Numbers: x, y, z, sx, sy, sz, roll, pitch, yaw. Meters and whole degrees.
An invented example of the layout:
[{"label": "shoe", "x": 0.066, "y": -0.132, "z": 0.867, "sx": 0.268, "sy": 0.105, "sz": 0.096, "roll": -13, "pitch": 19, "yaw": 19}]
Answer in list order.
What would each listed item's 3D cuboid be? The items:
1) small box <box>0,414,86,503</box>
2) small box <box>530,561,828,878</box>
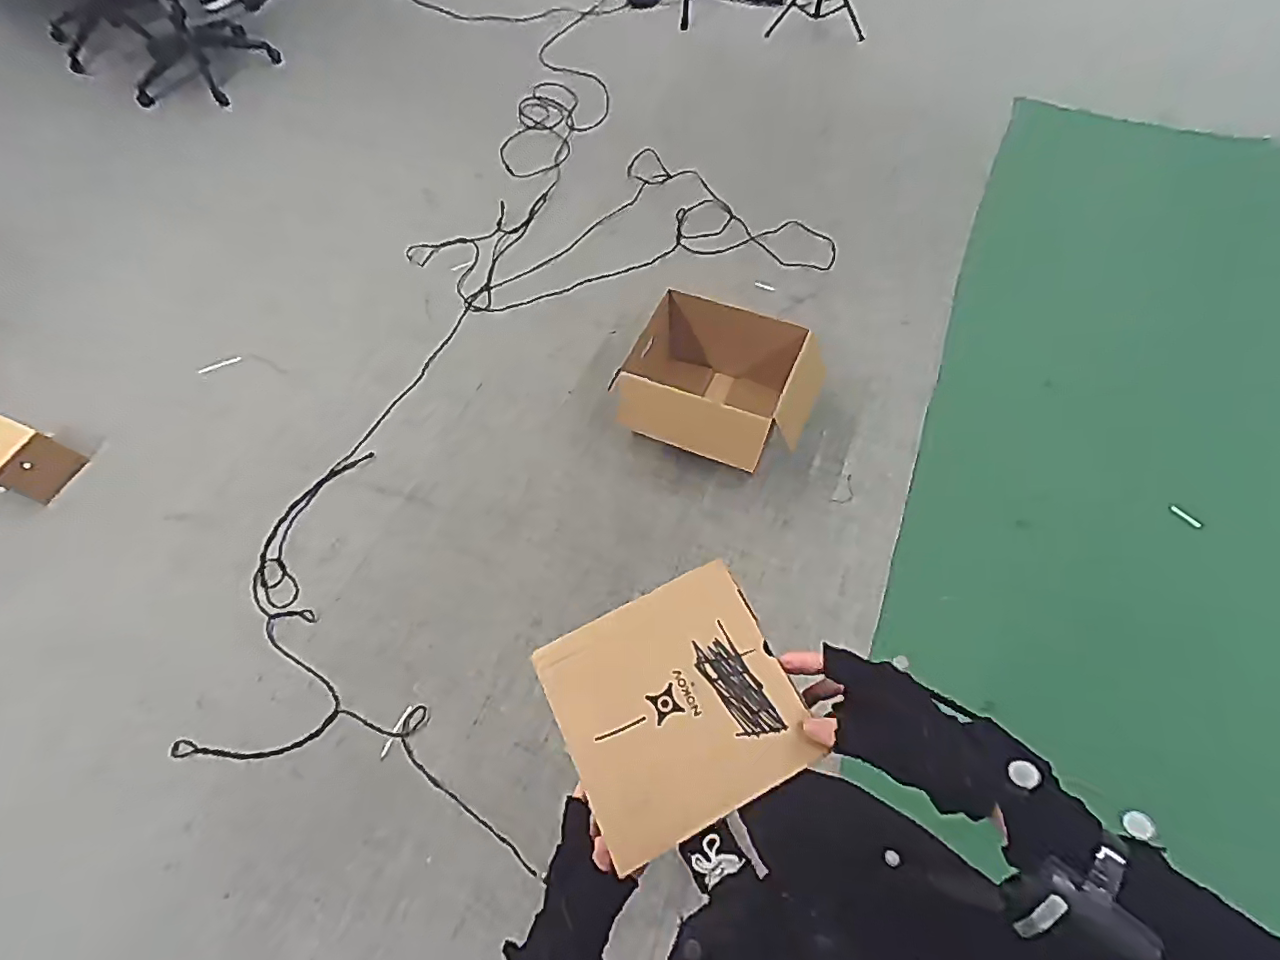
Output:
[{"label": "small box", "x": -1.820, "y": -0.060, "z": 1.602, "sx": 0.168, "sy": 0.176, "sz": 0.179, "roll": 19, "pitch": 68, "yaw": 11}, {"label": "small box", "x": 0.026, "y": 0.197, "z": 0.476, "sx": 0.179, "sy": 0.176, "sz": 0.168, "roll": -25, "pitch": 67, "yaw": -10}]
